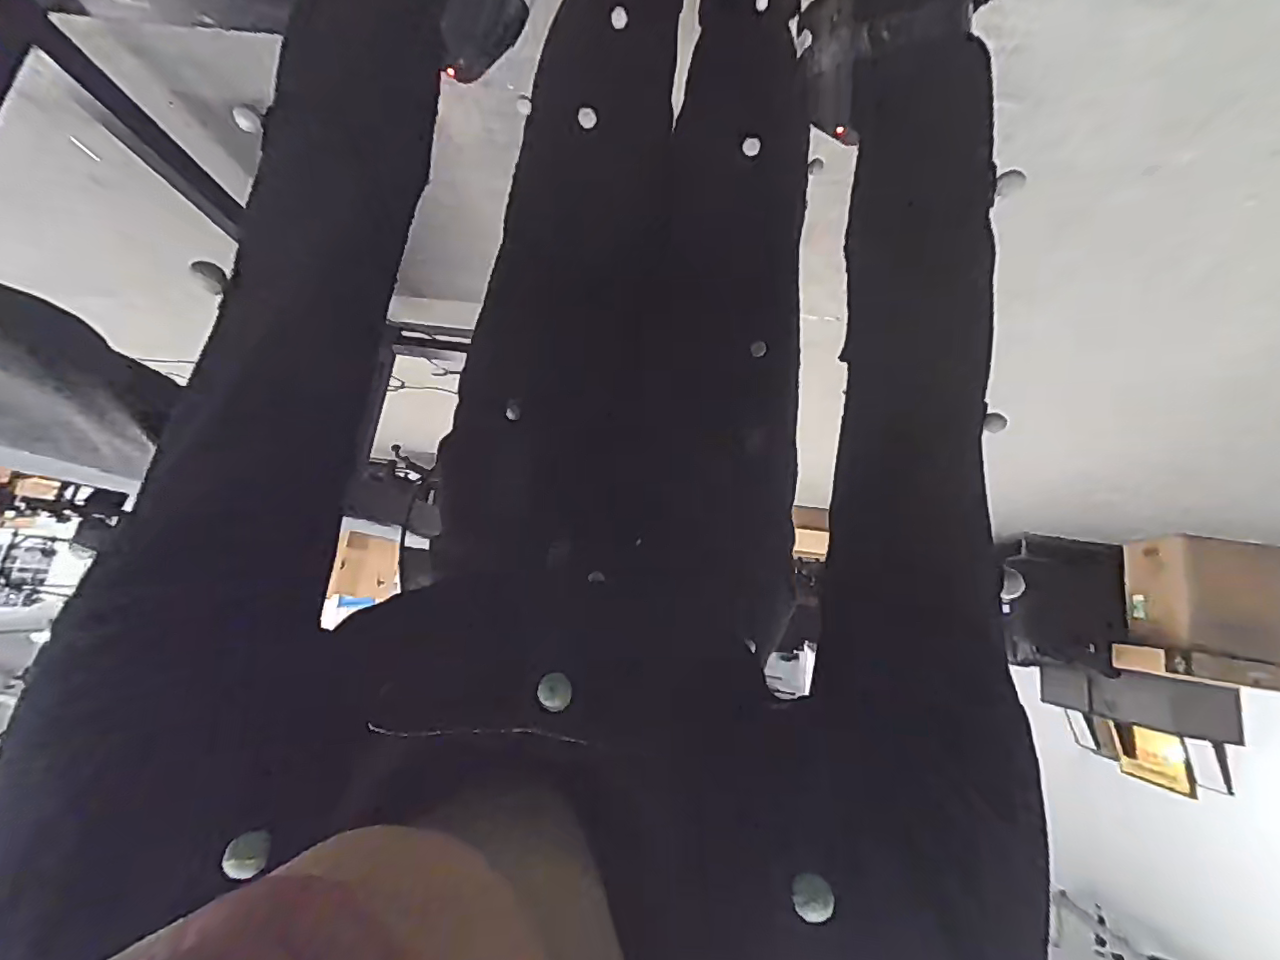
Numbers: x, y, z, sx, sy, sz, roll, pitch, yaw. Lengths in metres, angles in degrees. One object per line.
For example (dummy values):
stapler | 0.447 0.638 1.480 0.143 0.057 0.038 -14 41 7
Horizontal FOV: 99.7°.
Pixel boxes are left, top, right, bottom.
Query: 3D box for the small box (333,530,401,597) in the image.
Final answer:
small box | -0.789 0.227 1.485 0.168 0.176 0.179 7 168 5
